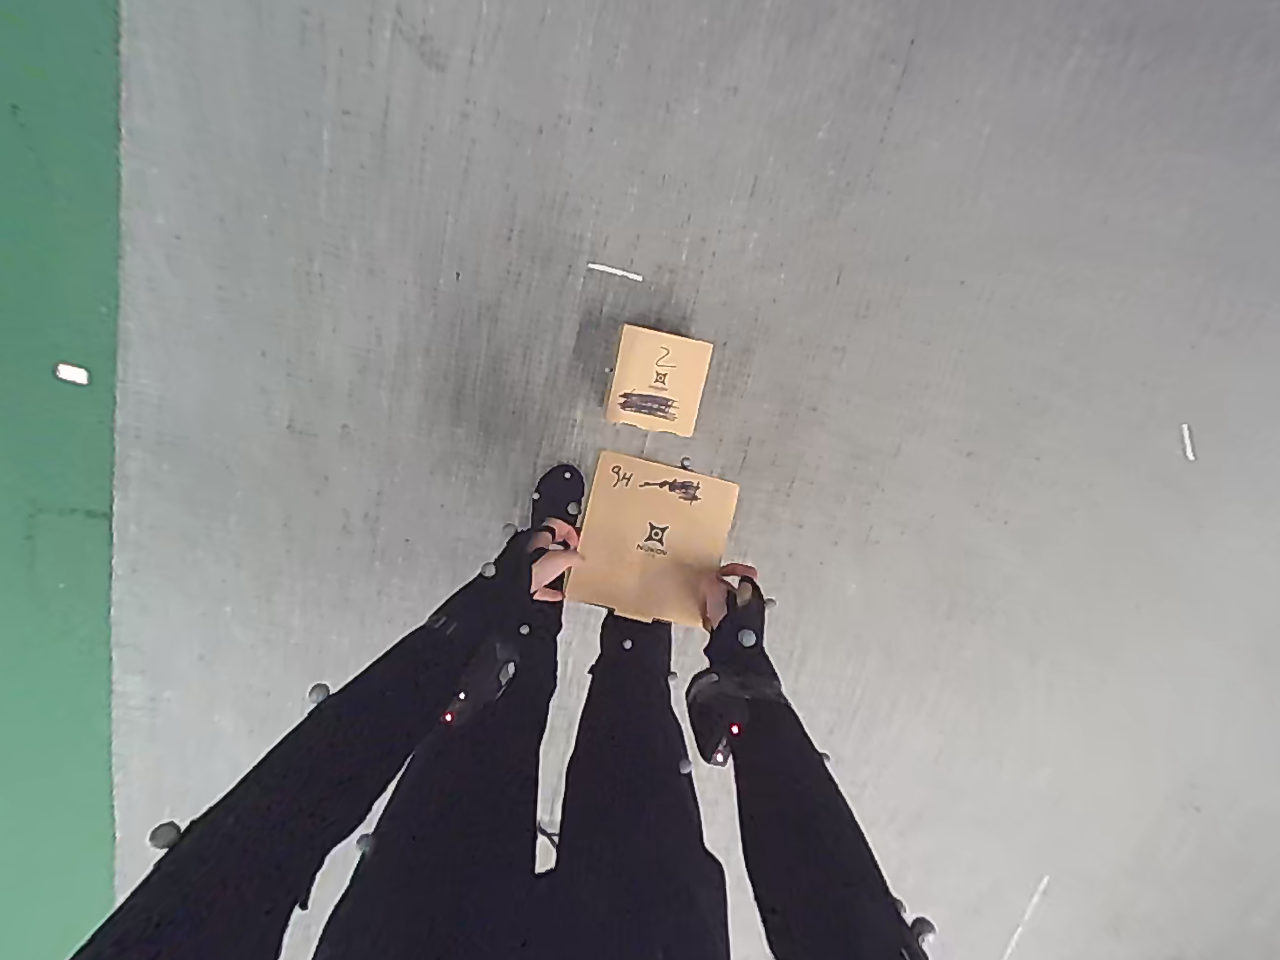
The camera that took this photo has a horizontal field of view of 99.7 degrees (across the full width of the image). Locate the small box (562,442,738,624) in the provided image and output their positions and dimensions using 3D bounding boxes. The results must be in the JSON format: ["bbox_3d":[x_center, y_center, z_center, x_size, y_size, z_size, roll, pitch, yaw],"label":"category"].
[{"bbox_3d":[0.005,0.056,0.686,0.168,0.176,0.179,14,93,-8],"label":"small box"}]
